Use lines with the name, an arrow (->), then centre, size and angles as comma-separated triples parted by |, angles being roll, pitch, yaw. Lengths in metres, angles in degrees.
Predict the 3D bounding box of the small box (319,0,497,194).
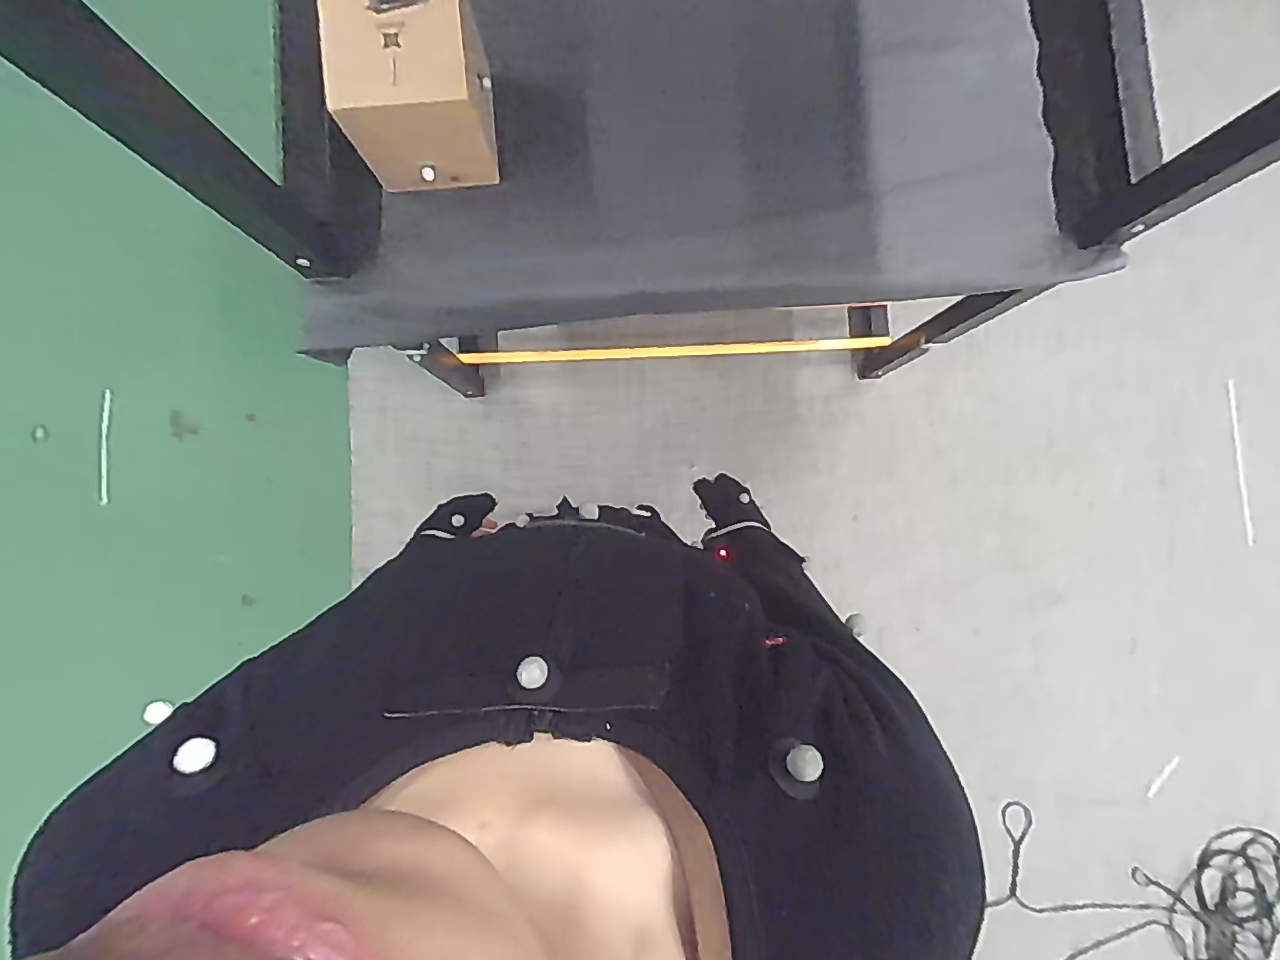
small box -> -0.293, -0.512, 0.713 | 0.168, 0.176, 0.179 | -6, 87, -2
